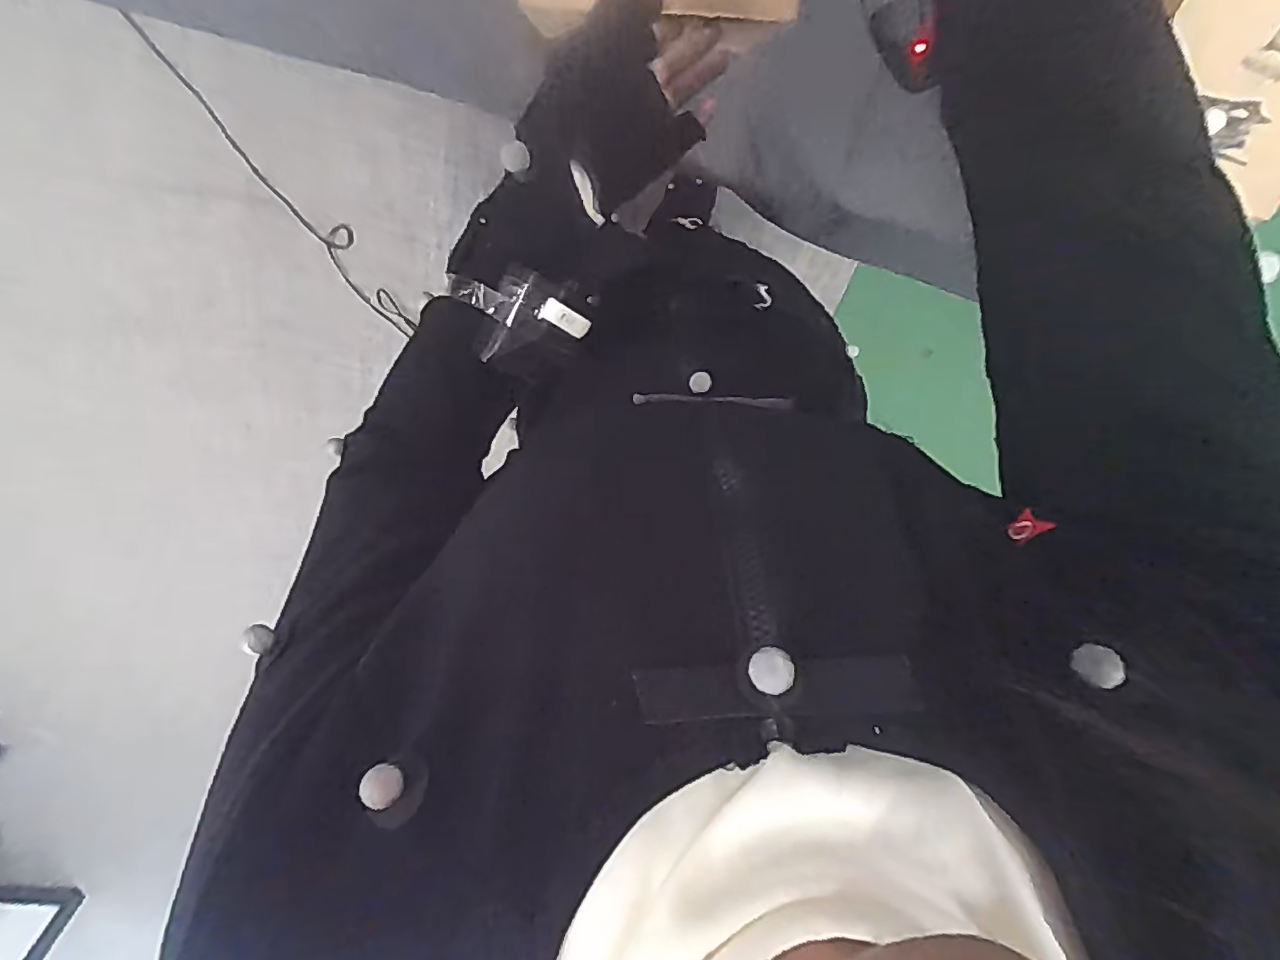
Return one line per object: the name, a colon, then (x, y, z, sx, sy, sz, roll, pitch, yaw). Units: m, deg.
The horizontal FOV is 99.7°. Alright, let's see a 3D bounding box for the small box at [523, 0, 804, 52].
small box: (0.013, -0.400, 0.358, 0.179, 0.176, 0.168, 0, 123, -4)
